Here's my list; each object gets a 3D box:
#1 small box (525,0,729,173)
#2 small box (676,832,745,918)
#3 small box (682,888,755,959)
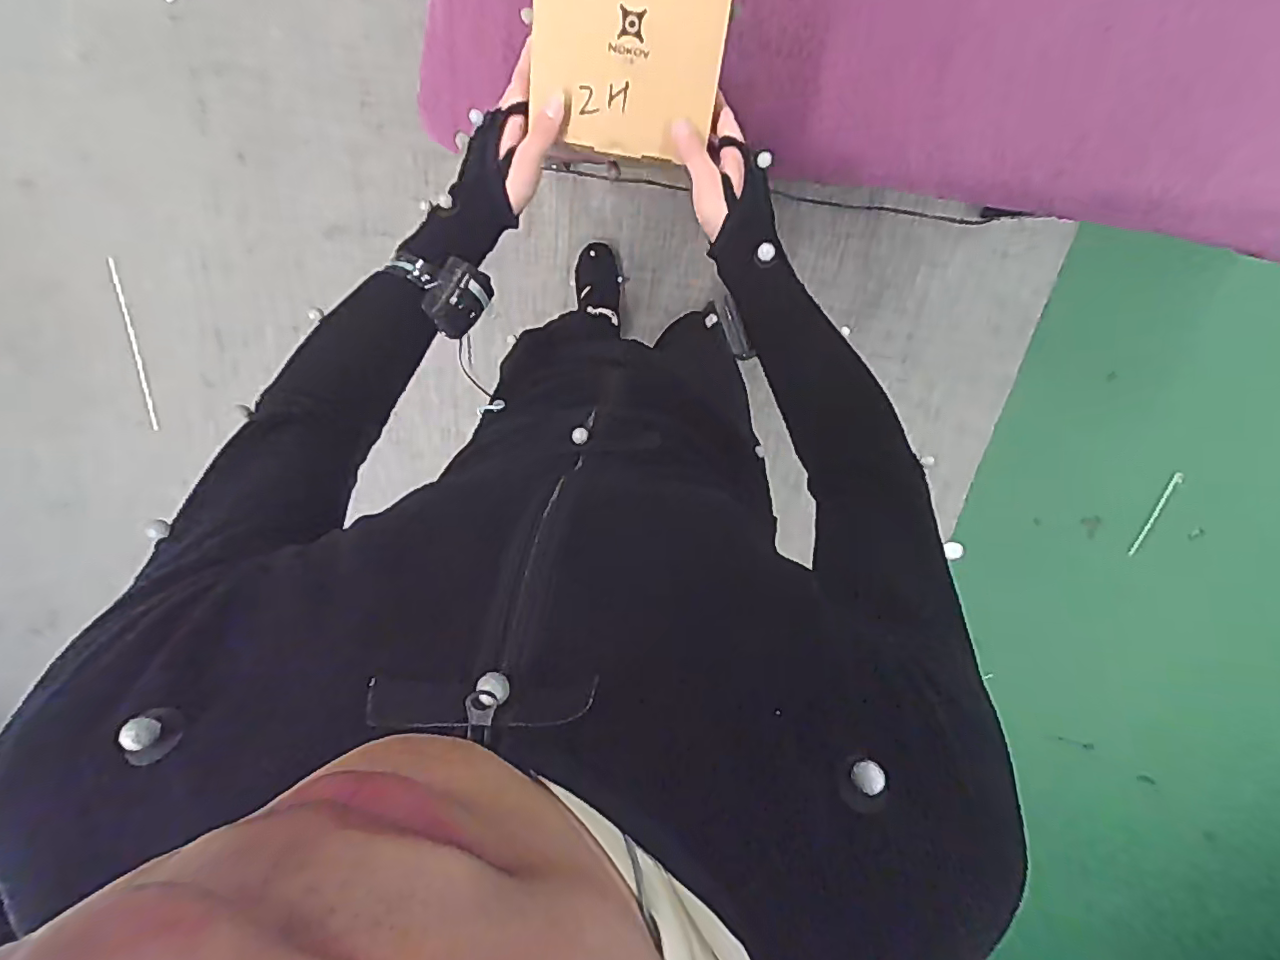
[{"bbox_3d":[-0.016,-0.417,0.531,0.168,0.176,0.179,6,117,-6],"label":"small box"},{"bbox_3d":[0.216,1.248,1.706,0.179,0.176,0.168,7,113,-2],"label":"small box"},{"bbox_3d":[0.217,1.312,1.555,0.179,0.176,0.168,5,113,-2],"label":"small box"}]
